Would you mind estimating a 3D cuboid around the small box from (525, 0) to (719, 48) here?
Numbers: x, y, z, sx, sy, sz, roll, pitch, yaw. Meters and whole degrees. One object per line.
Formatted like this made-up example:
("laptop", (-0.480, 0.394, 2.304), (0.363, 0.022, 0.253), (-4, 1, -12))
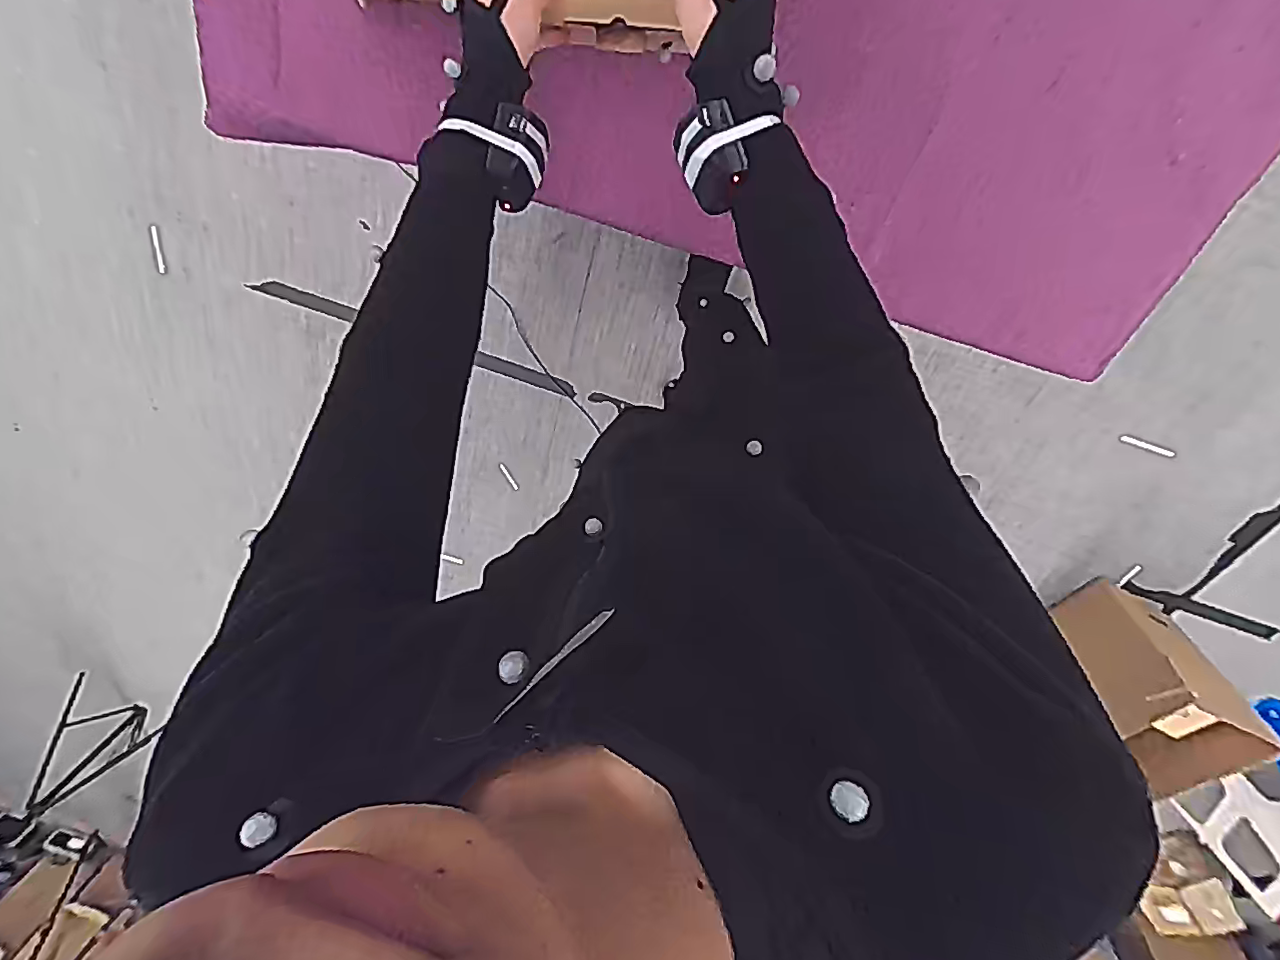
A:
("small box", (-0.004, -0.515, 0.491), (0.168, 0.176, 0.179), (8, 124, 4))
